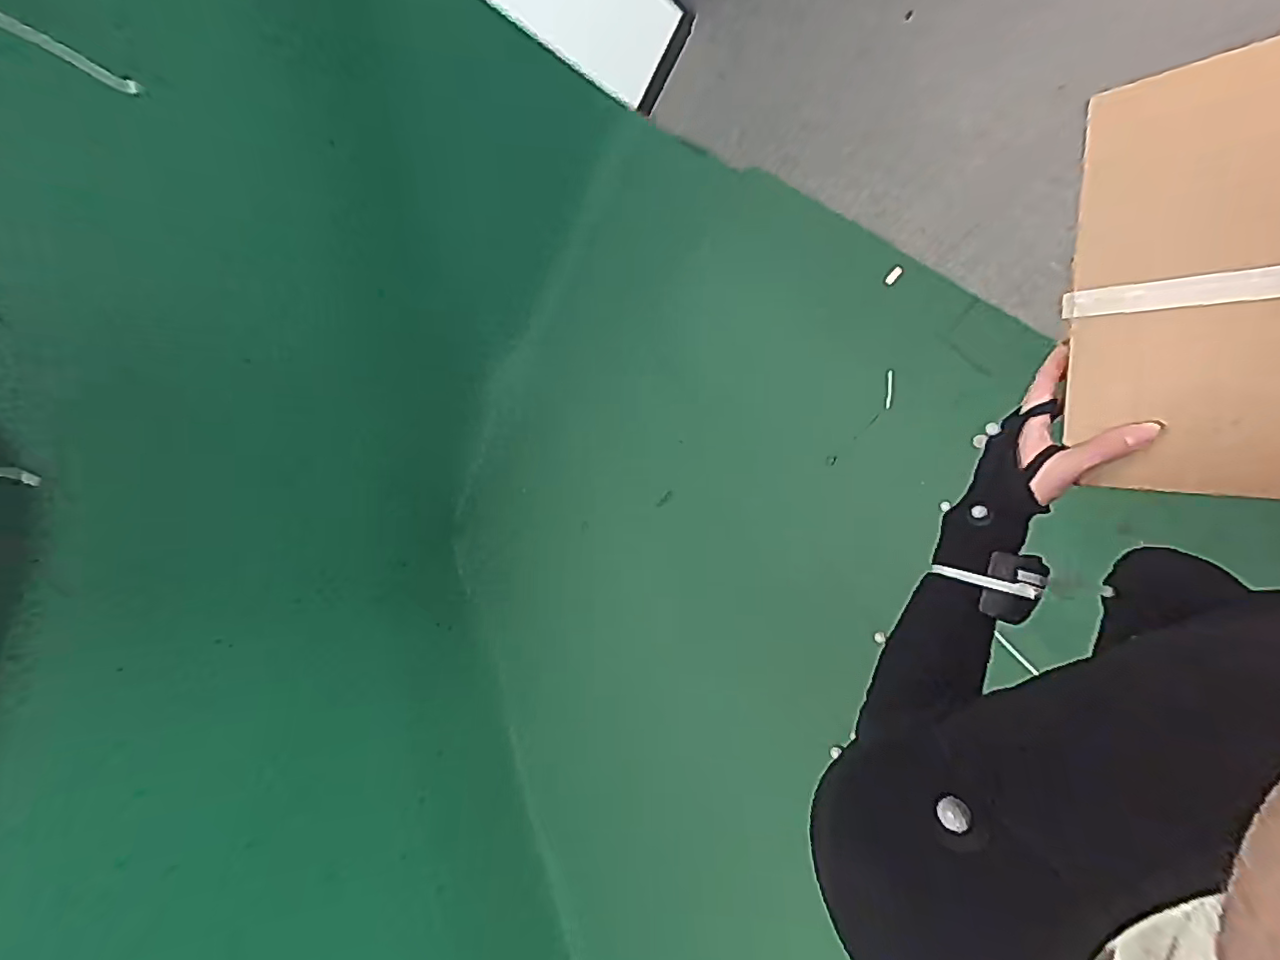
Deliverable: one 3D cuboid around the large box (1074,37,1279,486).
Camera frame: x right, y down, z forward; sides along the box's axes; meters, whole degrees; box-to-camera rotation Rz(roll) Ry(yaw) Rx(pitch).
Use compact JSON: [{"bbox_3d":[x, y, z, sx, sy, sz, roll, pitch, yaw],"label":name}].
[{"bbox_3d":[0.620,-0.165,0.422,0.408,0.320,0.320,7,105,44],"label":"large box"}]
